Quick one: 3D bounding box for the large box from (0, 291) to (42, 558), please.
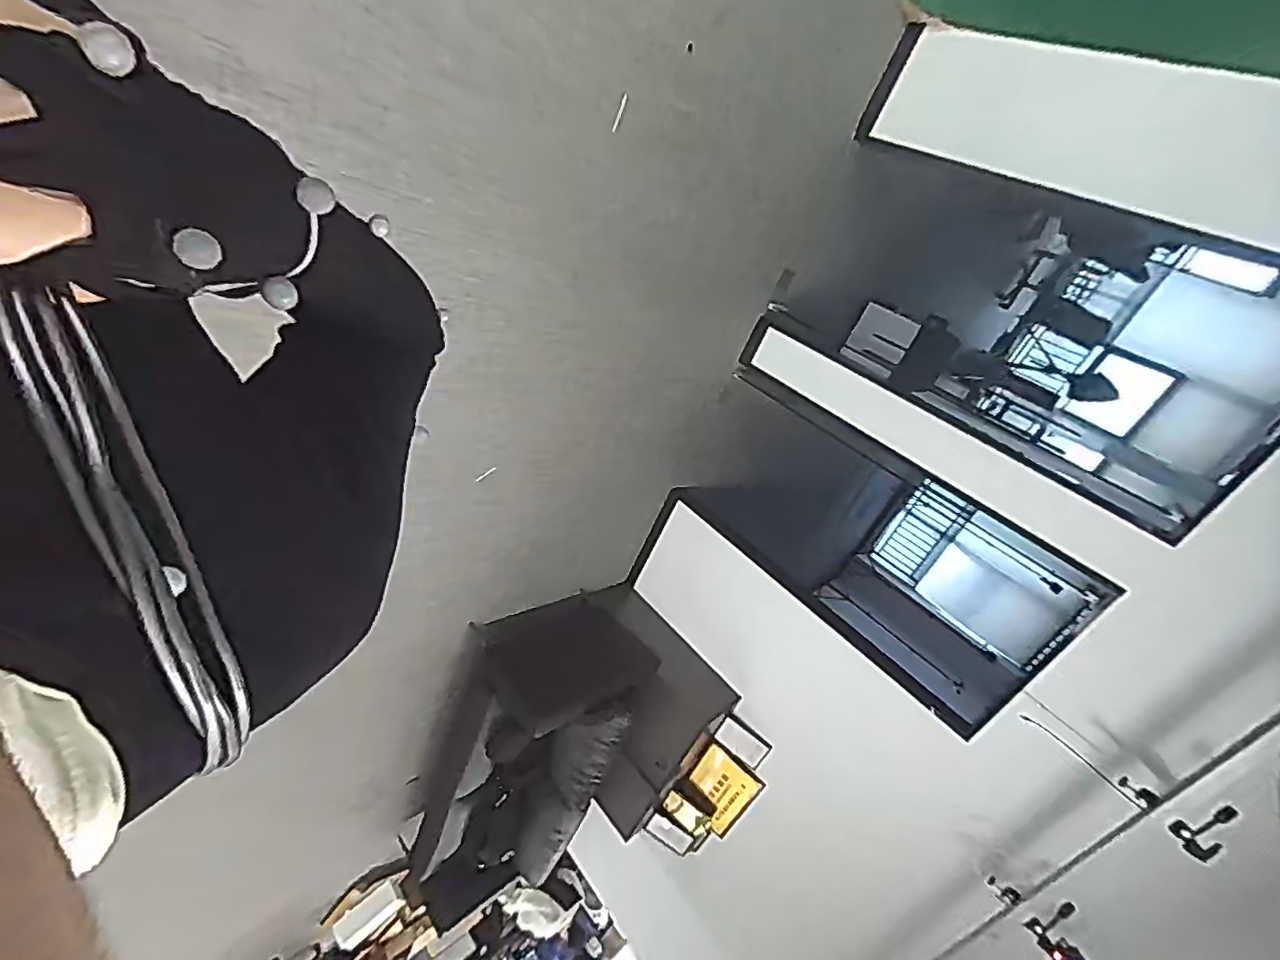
[{"bbox_3d":[-1.195,-0.104,0.842,0.320,0.320,0.408,-7,130,-50],"label":"large box"}]
